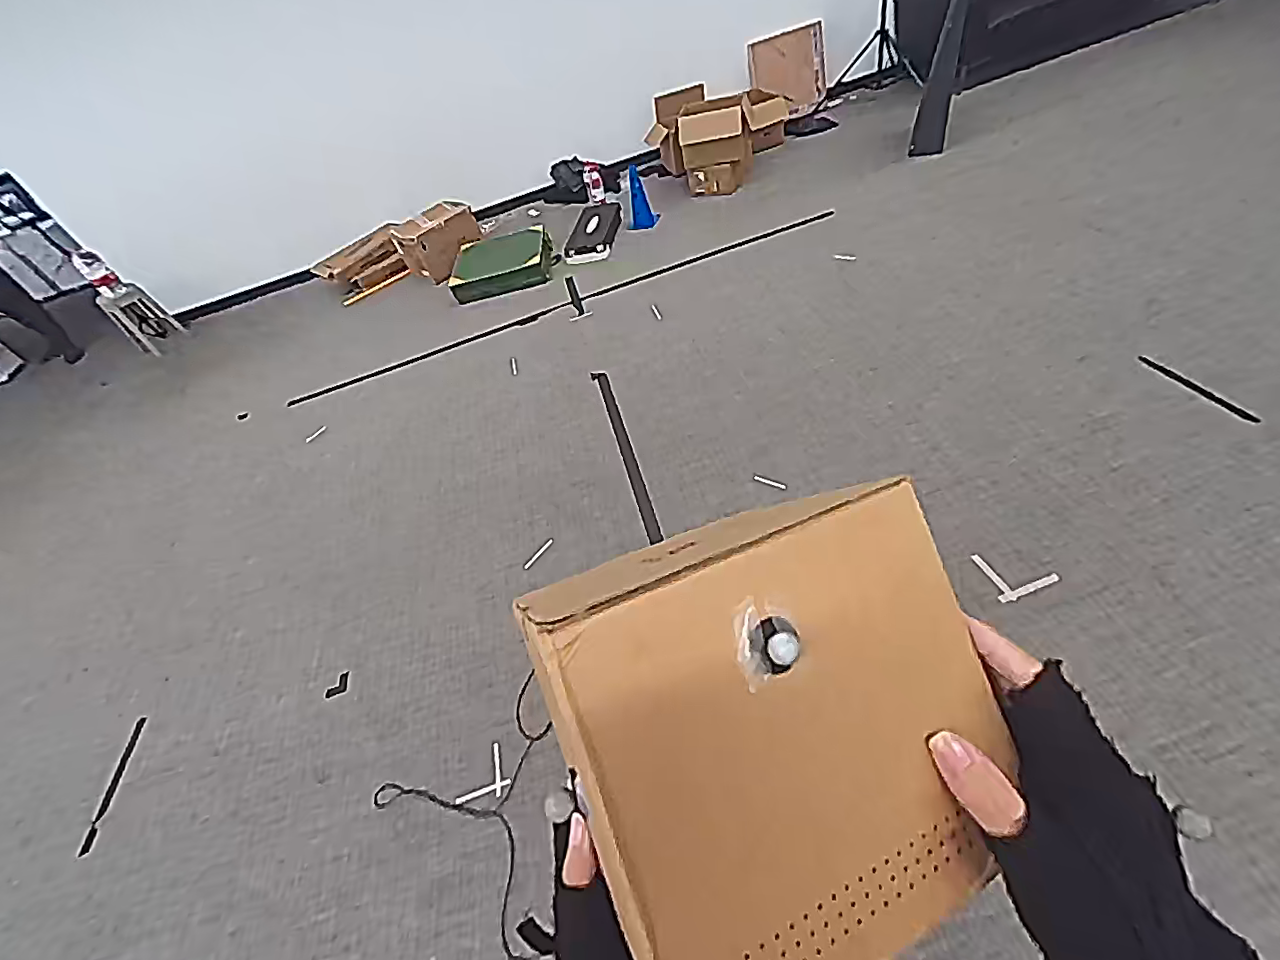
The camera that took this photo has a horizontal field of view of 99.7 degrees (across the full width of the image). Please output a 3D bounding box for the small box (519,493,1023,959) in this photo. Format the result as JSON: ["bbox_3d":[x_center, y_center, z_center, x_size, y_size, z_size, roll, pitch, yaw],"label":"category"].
[{"bbox_3d":[0.049,0.122,0.284,0.179,0.168,0.176,-19,86,-18],"label":"small box"}]
